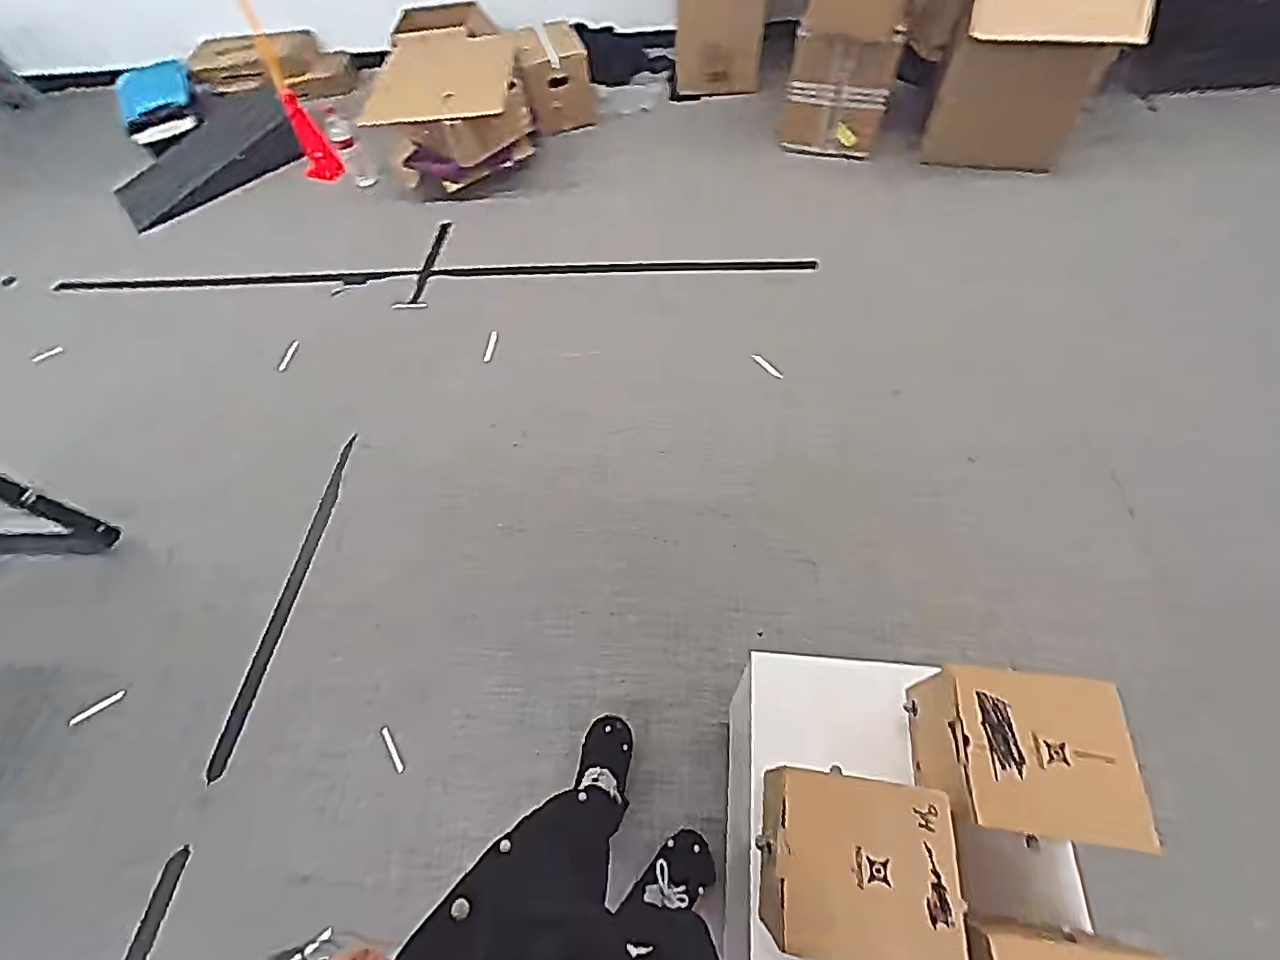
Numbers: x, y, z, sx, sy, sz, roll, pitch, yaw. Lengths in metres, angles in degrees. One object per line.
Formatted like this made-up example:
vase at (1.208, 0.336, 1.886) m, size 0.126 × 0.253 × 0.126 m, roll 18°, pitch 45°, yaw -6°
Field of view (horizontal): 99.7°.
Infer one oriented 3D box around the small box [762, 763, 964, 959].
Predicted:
small box at (0.237, 0.435, 0.619) m, size 0.179 × 0.176 × 0.168 m, roll 5°, pitch 60°, yaw 8°

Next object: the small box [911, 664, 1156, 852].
small box at (0.447, 0.335, 0.657) m, size 0.179 × 0.176 × 0.168 m, roll 5°, pitch 61°, yaw 8°

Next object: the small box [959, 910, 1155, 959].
small box at (0.416, 0.550, 0.536) m, size 0.179 × 0.176 × 0.168 m, roll 3°, pitch 59°, yaw 9°
